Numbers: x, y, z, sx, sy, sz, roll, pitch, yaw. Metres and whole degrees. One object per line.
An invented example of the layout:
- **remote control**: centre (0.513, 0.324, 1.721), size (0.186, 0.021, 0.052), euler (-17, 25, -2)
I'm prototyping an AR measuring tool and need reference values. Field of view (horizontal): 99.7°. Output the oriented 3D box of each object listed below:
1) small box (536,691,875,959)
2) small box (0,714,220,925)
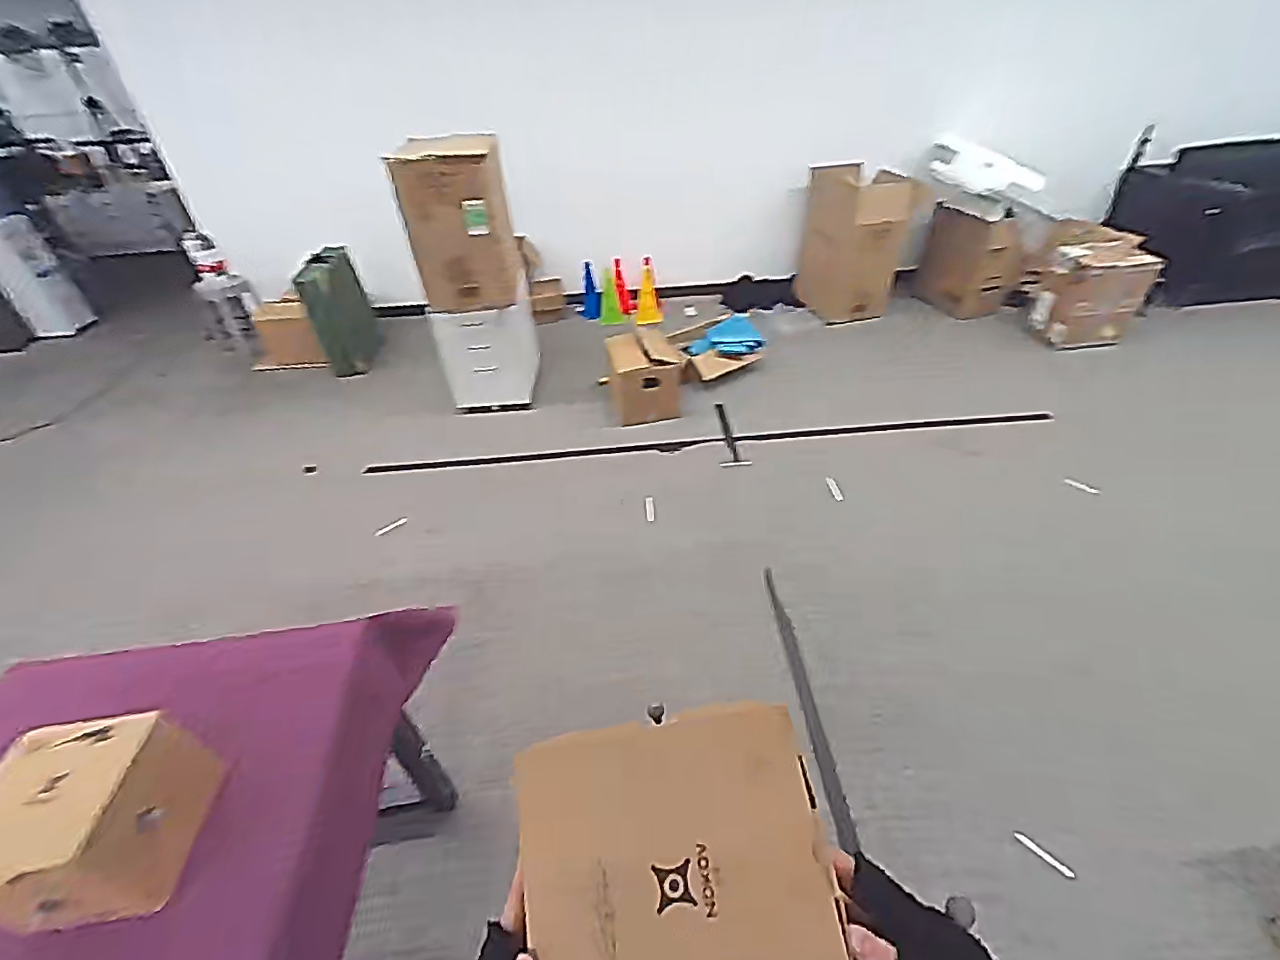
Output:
- **small box**: centre (0.031, 0.251, 0.382), size (0.179, 0.176, 0.168), euler (-8, 66, -5)
- **small box**: centre (-0.684, 0.429, 0.680), size (0.168, 0.176, 0.179), euler (-7, 40, -5)
